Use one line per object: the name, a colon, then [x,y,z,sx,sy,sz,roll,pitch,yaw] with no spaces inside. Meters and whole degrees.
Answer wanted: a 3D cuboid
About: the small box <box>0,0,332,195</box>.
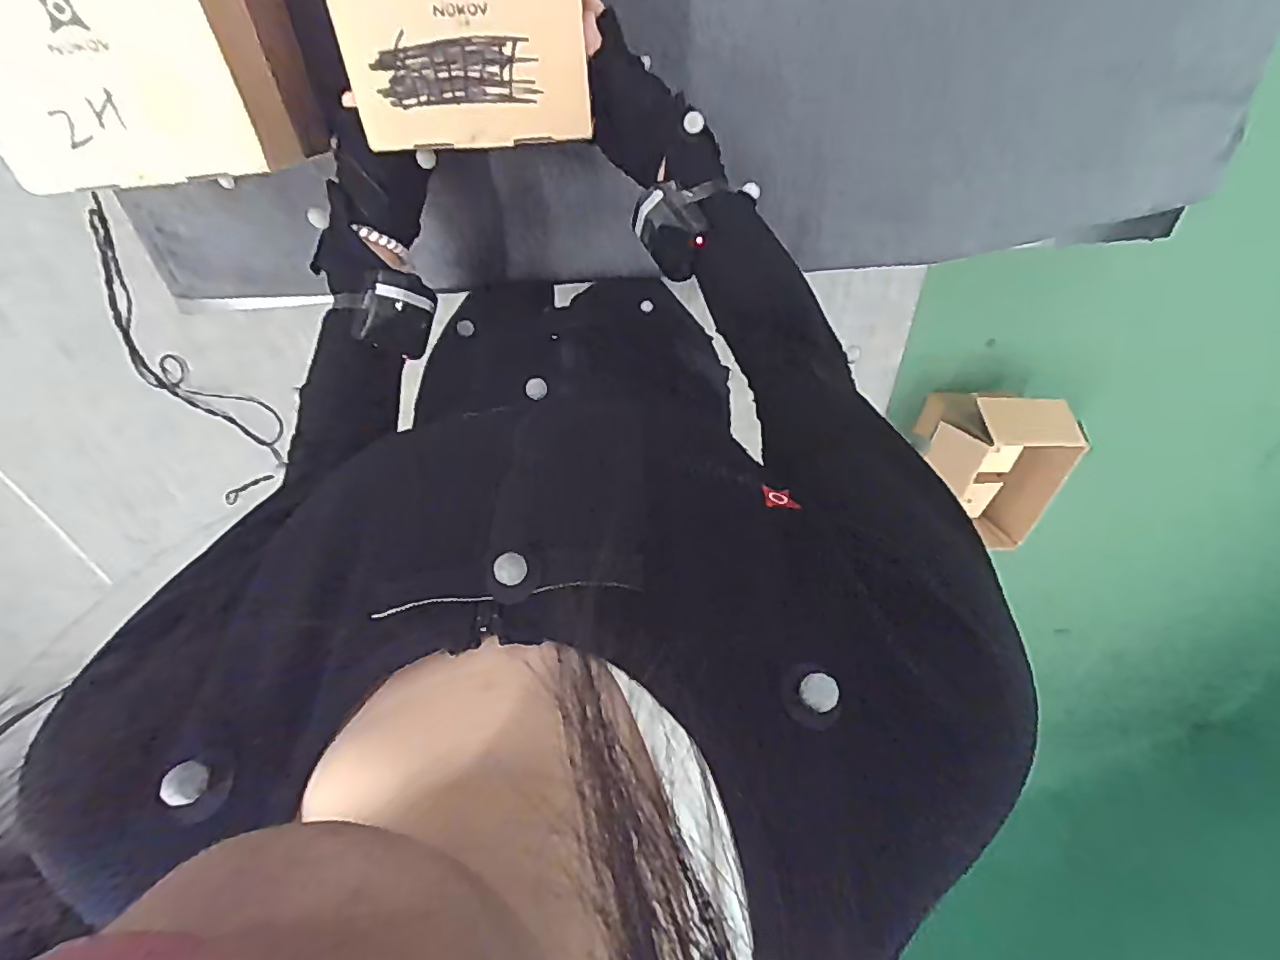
small box: [-0.362,-0.325,0.398,0.168,0.176,0.179,-9,127,-5]
